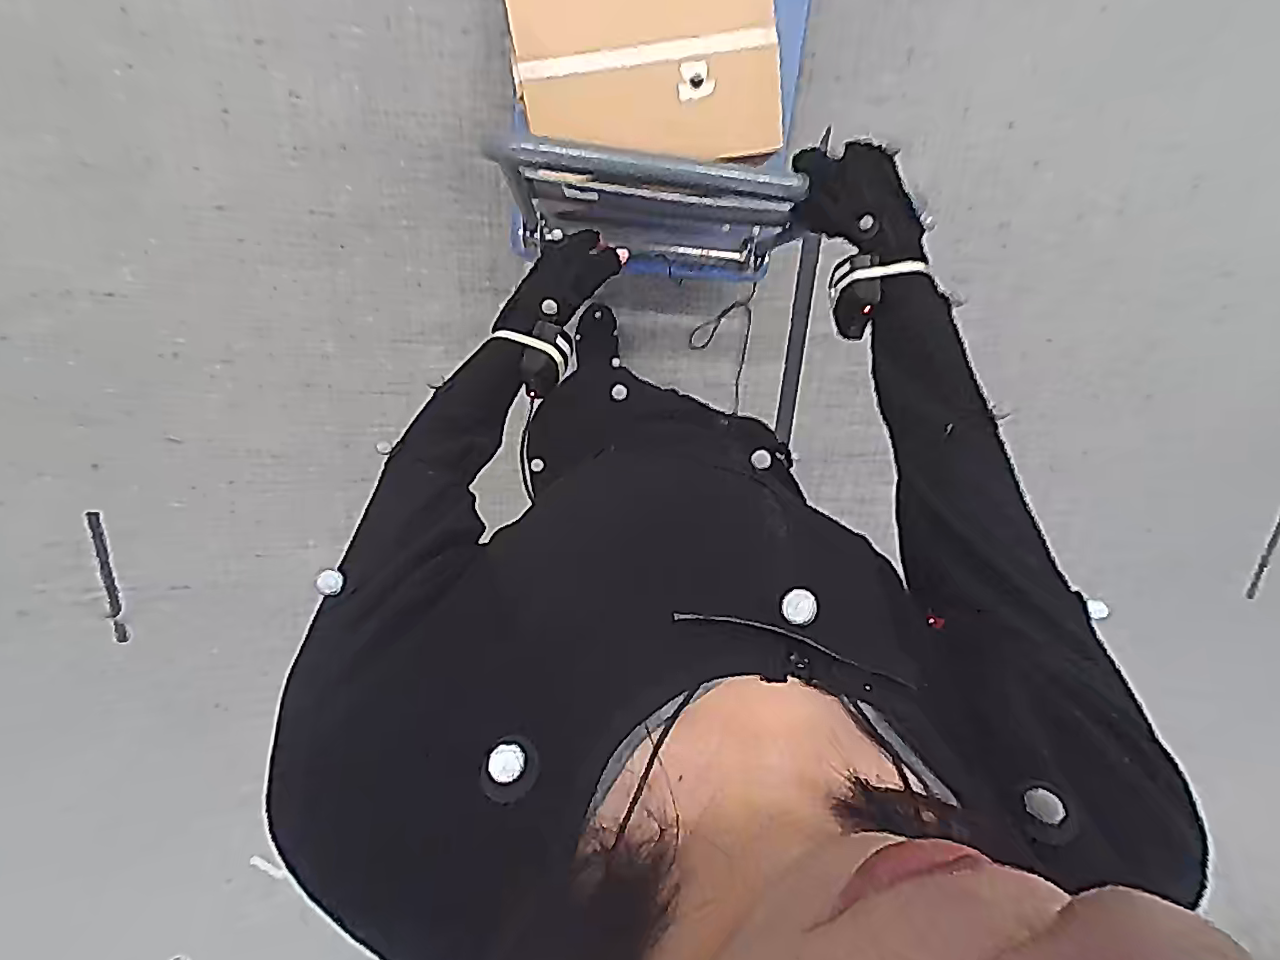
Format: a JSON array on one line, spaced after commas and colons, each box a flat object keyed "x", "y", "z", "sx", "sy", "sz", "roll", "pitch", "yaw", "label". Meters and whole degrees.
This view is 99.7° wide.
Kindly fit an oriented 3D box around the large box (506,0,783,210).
[{"x": -0.002, "y": -0.706, "z": 0.968, "sx": 0.408, "sy": 0.320, "sz": 0.320, "roll": -11, "pitch": 110, "yaw": -4, "label": "large box"}]
